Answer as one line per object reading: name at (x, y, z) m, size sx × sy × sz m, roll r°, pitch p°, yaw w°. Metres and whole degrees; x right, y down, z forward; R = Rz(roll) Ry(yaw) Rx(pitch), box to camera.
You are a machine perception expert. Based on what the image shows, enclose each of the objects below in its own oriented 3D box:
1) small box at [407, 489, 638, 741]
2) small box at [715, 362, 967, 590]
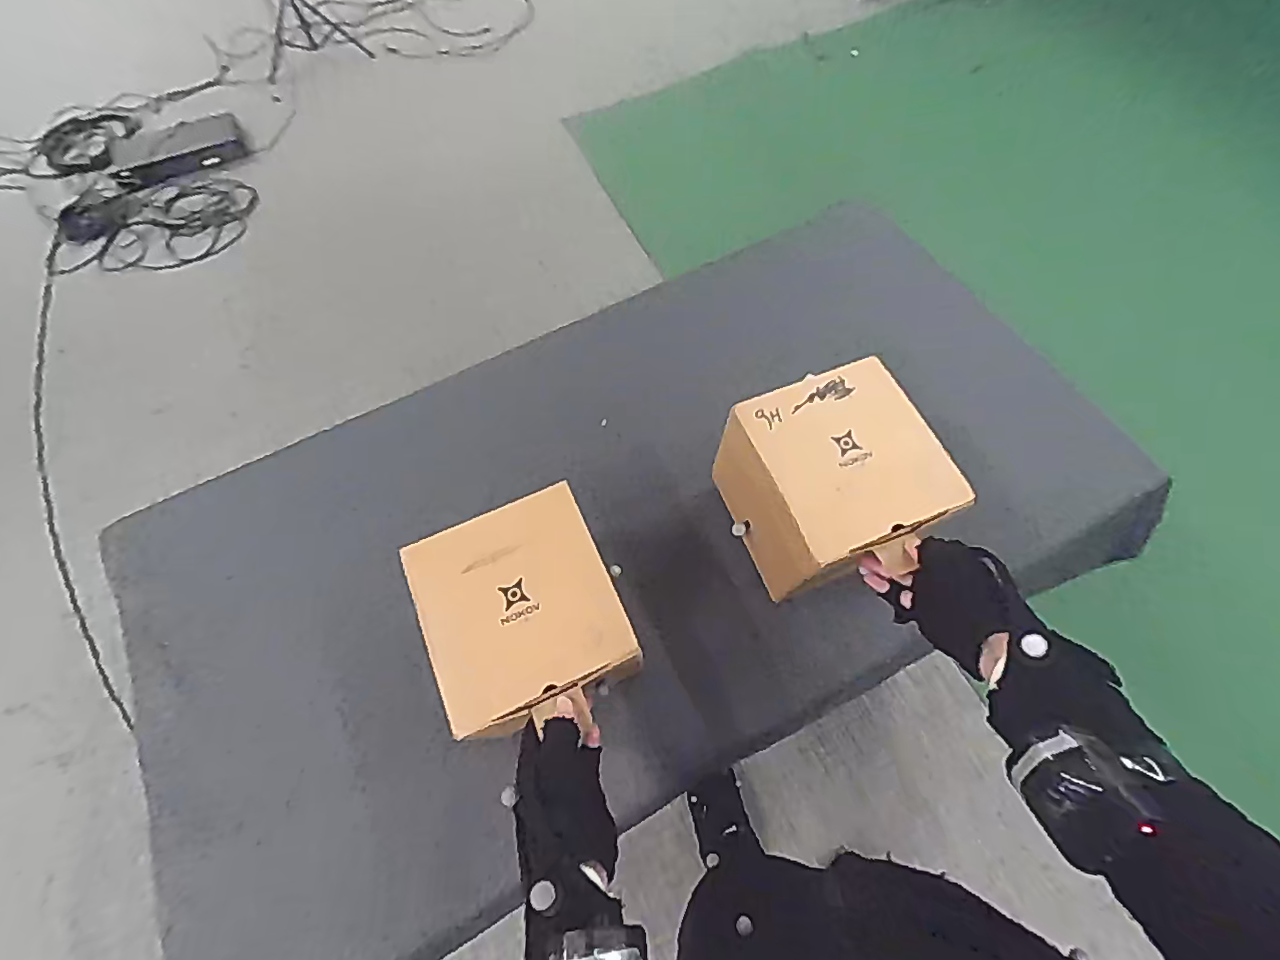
small box at (-0.106, 0.141, 0.555) m, size 0.168 × 0.176 × 0.179 m, roll -23°, pitch 68°, yaw -10°
small box at (0.196, 0.009, 0.587) m, size 0.168 × 0.176 × 0.179 m, roll -20°, pitch 70°, yaw -9°
